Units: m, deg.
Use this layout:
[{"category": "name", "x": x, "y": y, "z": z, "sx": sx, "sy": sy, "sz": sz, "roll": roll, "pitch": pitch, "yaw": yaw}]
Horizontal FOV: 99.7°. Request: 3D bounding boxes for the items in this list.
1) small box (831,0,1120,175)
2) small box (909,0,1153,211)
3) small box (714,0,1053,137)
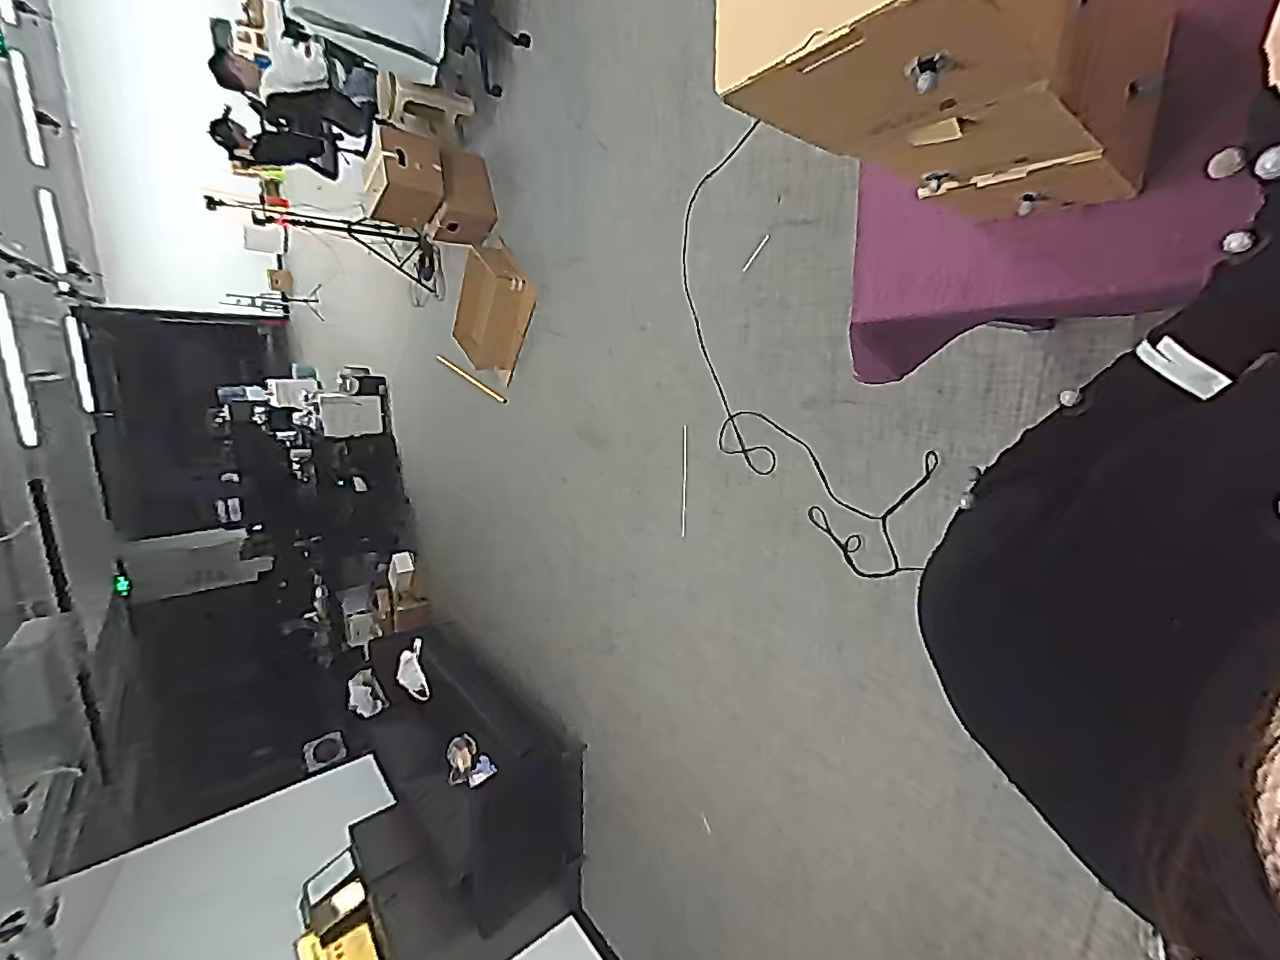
[{"category": "small box", "x": 0.294, "y": -0.387, "z": 0.473, "sx": 0.168, "sy": 0.176, "sz": 0.179, "roll": 17, "pitch": 109, "yaw": 47}, {"category": "small box", "x": 0.417, "y": -0.401, "z": 0.581, "sx": 0.168, "sy": 0.176, "sz": 0.179, "roll": 15, "pitch": 110, "yaw": 47}, {"category": "small box", "x": 0.170, "y": -0.363, "z": 0.370, "sx": 0.168, "sy": 0.176, "sz": 0.179, "roll": 14, "pitch": 107, "yaw": 47}]
